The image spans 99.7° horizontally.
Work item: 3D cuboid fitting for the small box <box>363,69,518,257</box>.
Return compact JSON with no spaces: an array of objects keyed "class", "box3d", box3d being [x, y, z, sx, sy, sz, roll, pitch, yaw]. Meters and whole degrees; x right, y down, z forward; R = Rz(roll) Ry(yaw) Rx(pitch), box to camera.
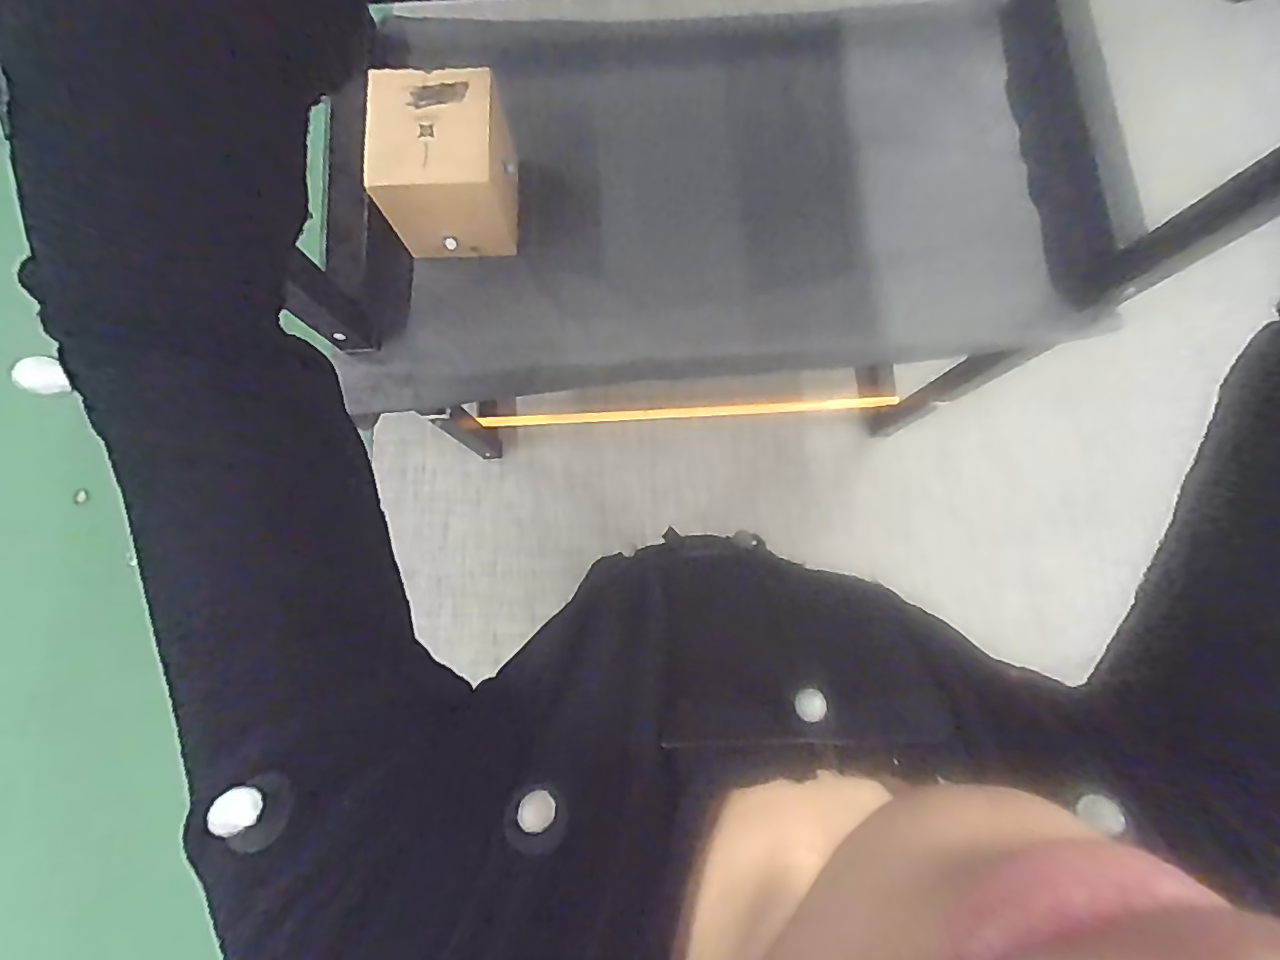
[{"class":"small box","box3d":[-0.280,-0.454,0.793,0.168,0.176,0.179,-2,81,0]}]
